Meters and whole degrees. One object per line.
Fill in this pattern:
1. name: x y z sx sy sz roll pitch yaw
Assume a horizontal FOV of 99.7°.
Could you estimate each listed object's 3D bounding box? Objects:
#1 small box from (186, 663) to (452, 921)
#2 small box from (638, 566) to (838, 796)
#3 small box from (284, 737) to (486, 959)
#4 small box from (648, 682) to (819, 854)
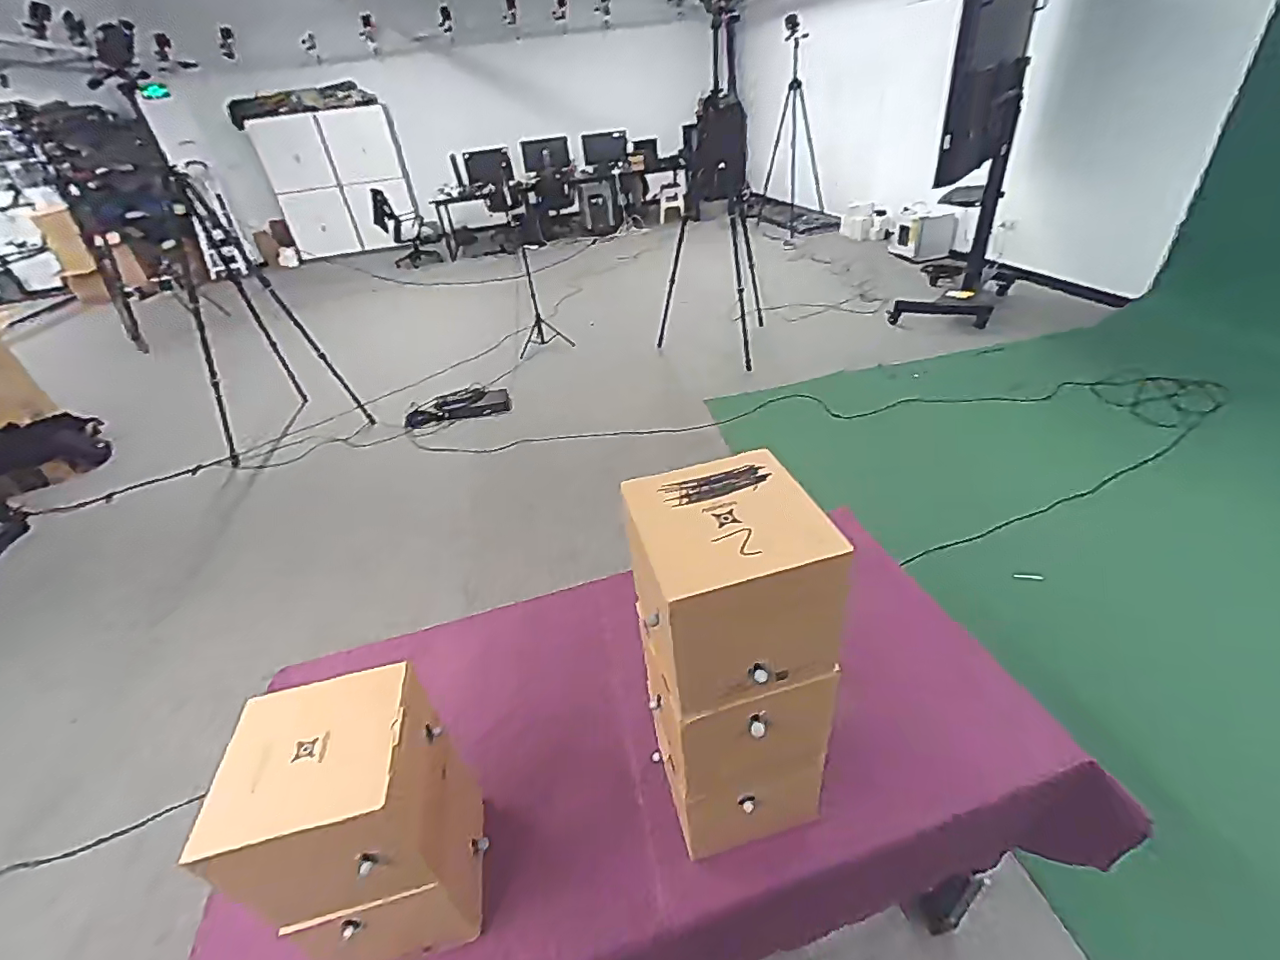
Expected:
1. small box: -0.317 0.334 0.586 0.179 0.176 0.168 -13 35 -6
2. small box: 0.107 0.236 0.643 0.179 0.176 0.168 -15 36 -8
3. small box: -0.299 0.467 0.680 0.168 0.176 0.179 -13 35 -7
4. small box: 0.122 0.369 0.736 0.179 0.176 0.168 -13 35 -8
